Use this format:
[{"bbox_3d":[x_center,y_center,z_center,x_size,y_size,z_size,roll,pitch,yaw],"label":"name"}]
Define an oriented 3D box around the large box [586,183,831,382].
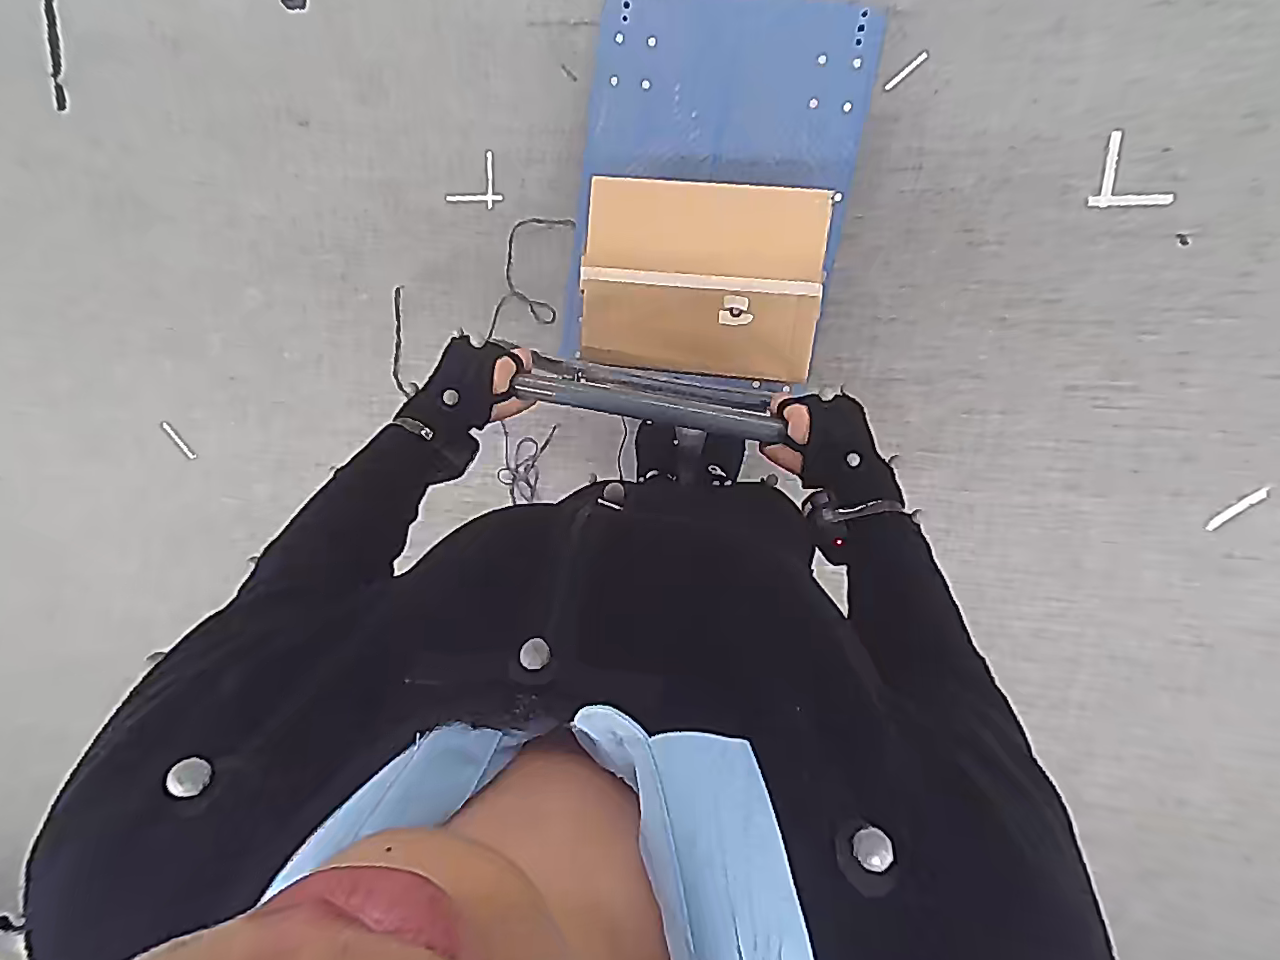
[{"bbox_3d":[0.122,-0.366,1.081,0.408,0.320,0.320,6,102,5],"label":"large box"}]
